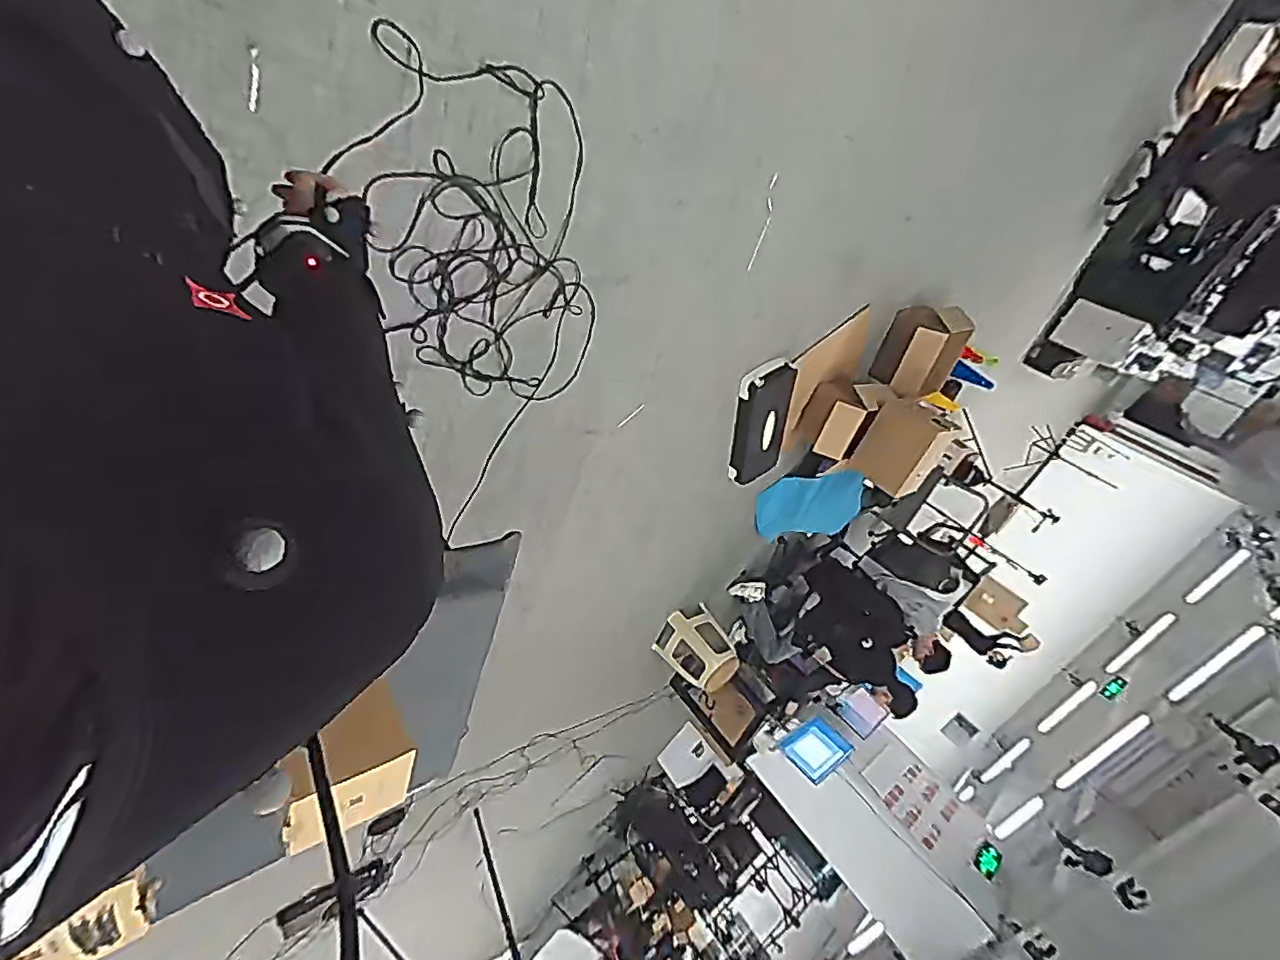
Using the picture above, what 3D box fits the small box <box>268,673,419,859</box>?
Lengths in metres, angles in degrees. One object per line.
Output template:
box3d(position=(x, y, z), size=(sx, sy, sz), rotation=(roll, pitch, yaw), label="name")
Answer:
box3d(position=(-0.487, 0.451, 0.877), size=(0.179, 0.176, 0.168), rotation=(-10, 133, -43), label="small box")
